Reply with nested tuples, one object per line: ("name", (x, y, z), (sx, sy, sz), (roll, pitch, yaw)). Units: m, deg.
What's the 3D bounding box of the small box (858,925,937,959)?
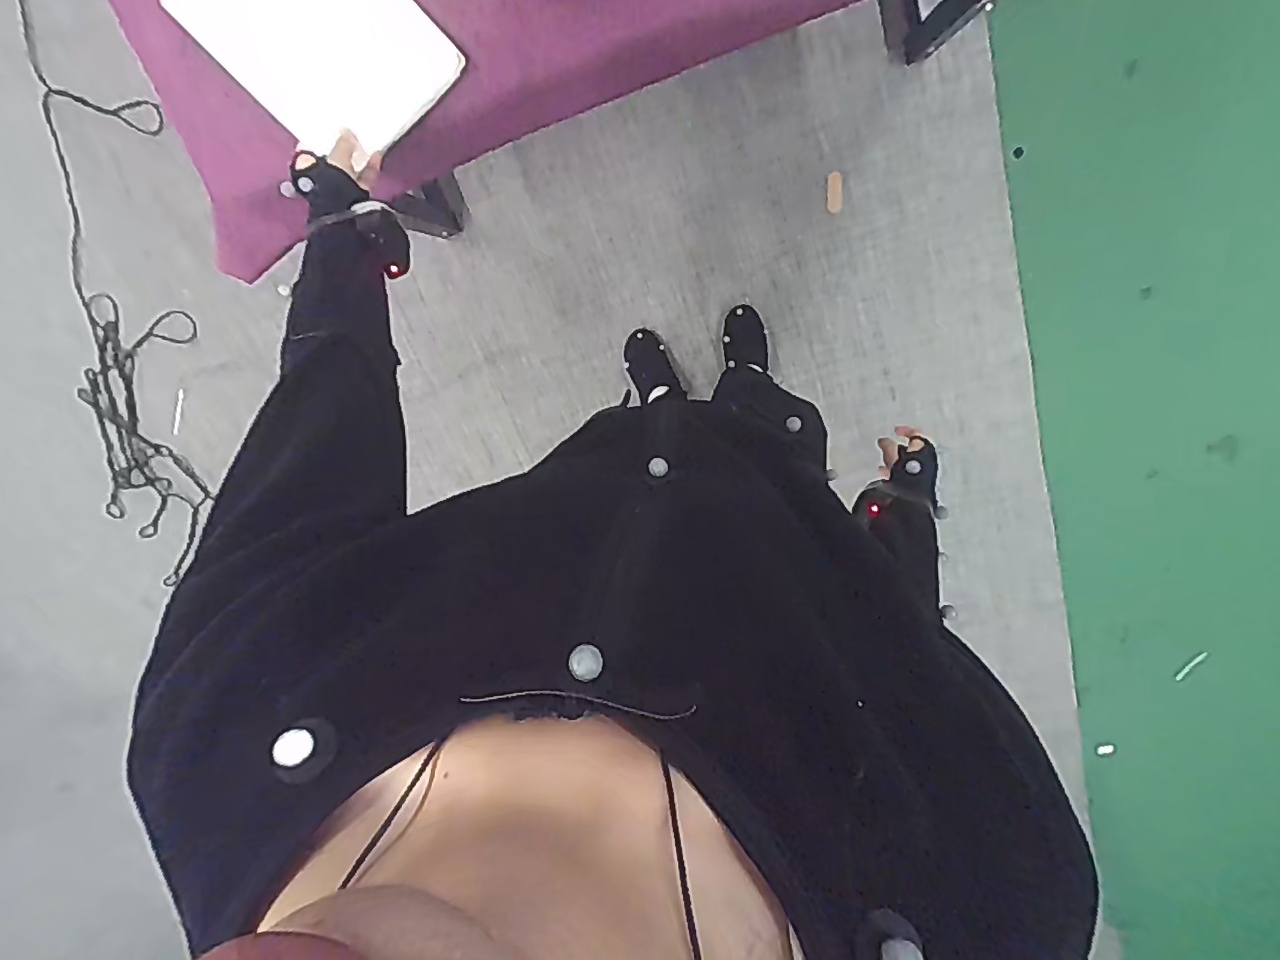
("small box", (0.713, 1.332, 1.437), (0.168, 0.176, 0.179), (-33, 105, 12))
